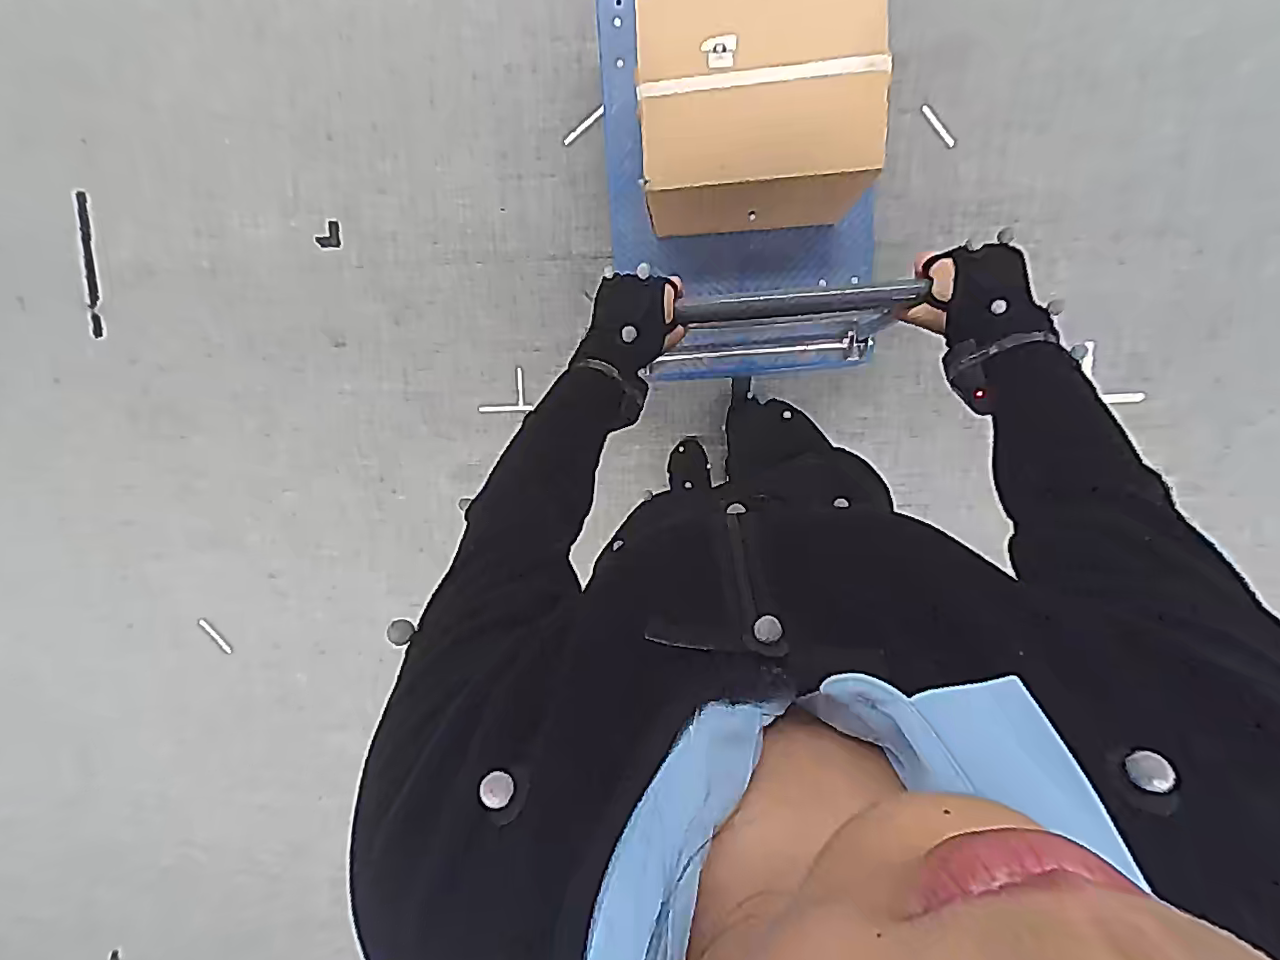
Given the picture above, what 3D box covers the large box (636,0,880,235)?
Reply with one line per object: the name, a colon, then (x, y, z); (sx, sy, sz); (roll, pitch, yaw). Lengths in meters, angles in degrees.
large box: (0.218, -0.698, 1.062); (0.408, 0.320, 0.320); (-3, 98, 7)
